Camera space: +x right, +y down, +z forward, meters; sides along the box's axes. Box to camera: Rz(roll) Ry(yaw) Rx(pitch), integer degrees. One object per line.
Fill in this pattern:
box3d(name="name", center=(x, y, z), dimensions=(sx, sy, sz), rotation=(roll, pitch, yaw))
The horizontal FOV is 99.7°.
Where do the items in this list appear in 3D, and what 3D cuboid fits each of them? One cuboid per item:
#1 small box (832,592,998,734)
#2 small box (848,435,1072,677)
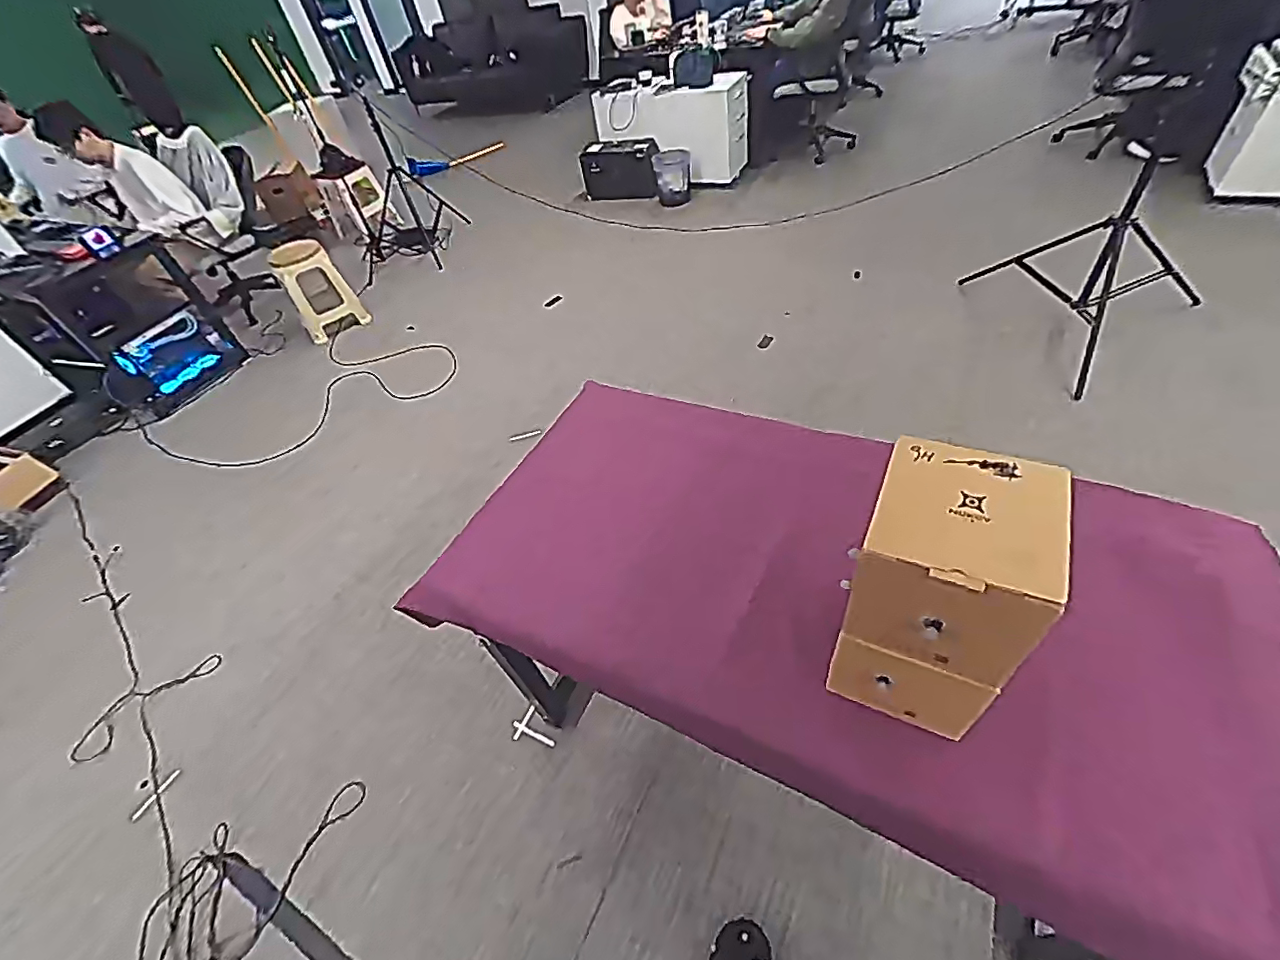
box3d(name="small box", center=(0.356, 0.197, 0.706), dimensions=(0.168, 0.176, 0.179), rotation=(16, 52, 24))
box3d(name="small box", center=(0.335, 0.083, 0.589), dimensions=(0.168, 0.176, 0.179), rotation=(17, 53, 25))
